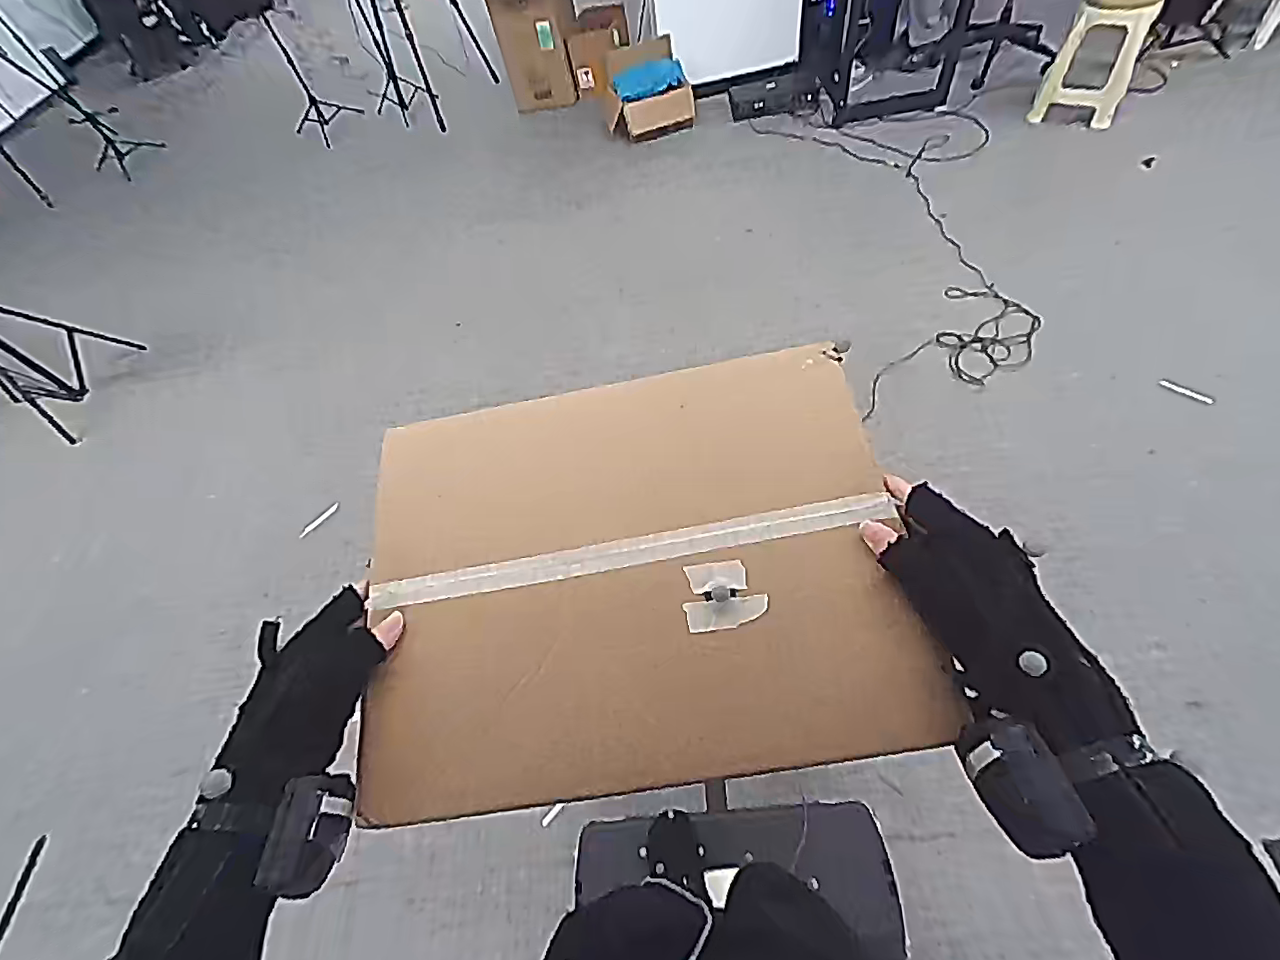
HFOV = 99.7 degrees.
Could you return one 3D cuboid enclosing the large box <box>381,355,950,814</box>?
[{"bbox_3d":[0.010,0.123,0.563,0.408,0.320,0.320,-11,65,4],"label":"large box"}]
